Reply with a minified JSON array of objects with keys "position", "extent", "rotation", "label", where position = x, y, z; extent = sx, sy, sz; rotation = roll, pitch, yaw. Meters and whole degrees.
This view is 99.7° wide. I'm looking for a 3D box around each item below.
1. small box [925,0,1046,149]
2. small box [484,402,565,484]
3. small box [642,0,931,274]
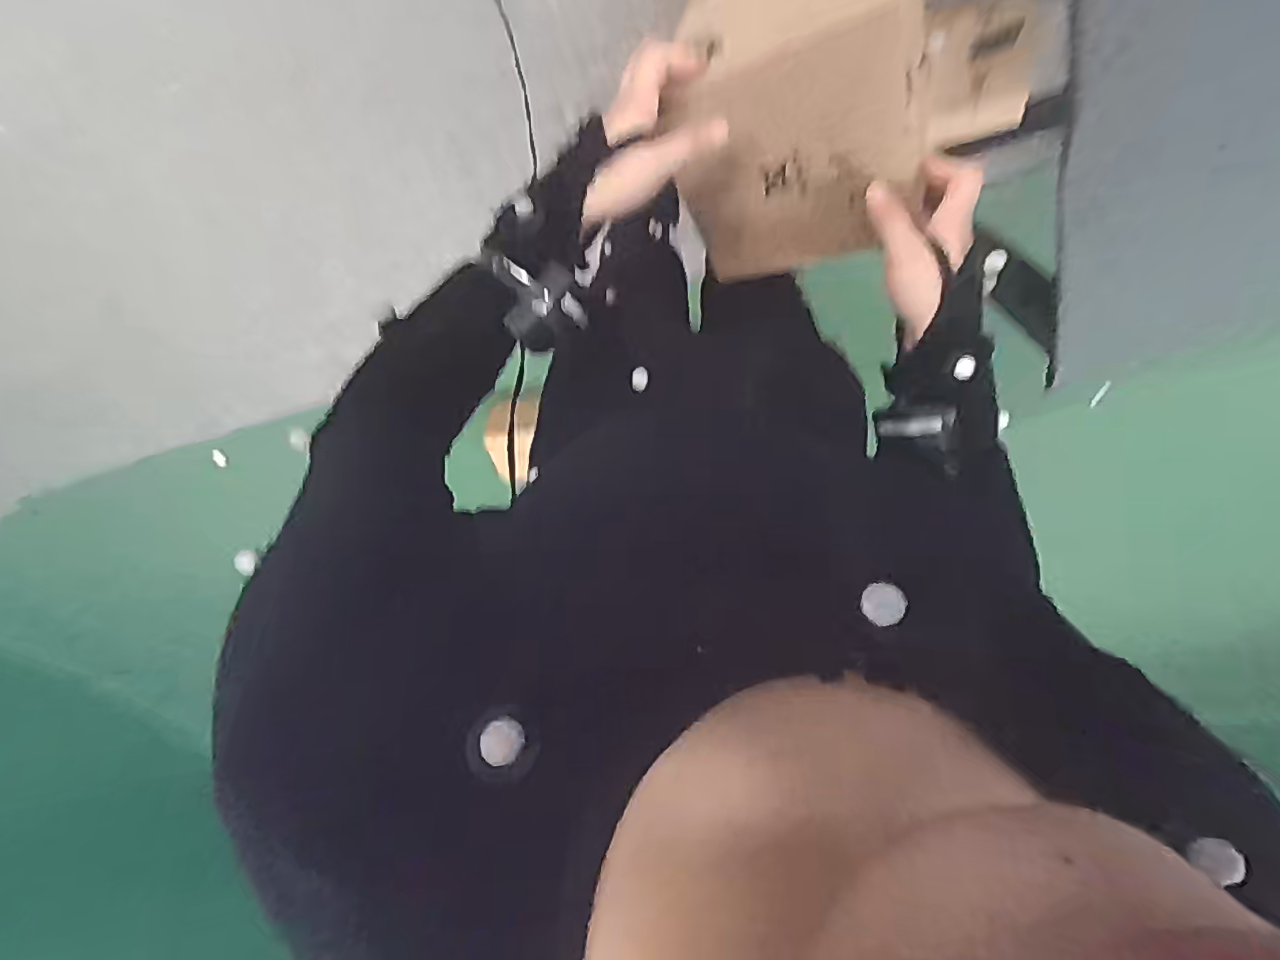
[{"position":[0.574,-0.725,0.963],"extent":[0.168,0.176,0.179],"rotation":[-9,133,11],"label":"small box"},{"position":[-0.324,-0.111,1.567],"extent":[0.179,0.176,0.168],"rotation":[-6,131,10],"label":"small box"},{"position":[0.131,-0.303,0.438],"extent":[0.179,0.176,0.168],"rotation":[-1,149,32],"label":"small box"}]
